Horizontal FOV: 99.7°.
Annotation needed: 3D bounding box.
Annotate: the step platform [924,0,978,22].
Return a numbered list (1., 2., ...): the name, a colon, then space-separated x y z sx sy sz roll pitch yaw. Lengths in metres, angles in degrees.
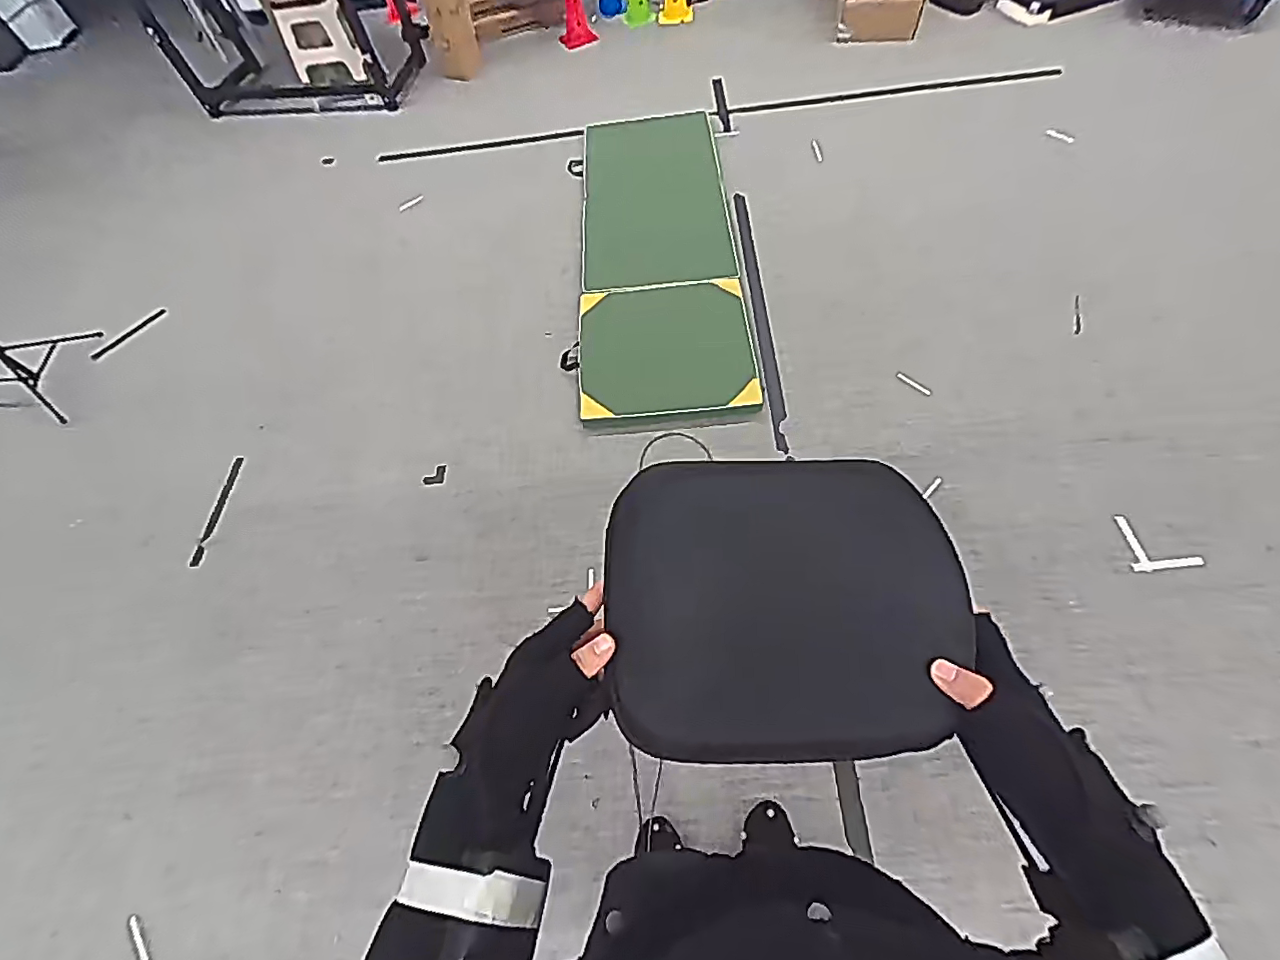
1. step platform: 1.928 -2.774 2.969 0.684 0.204 0.286 -31 62 -10
